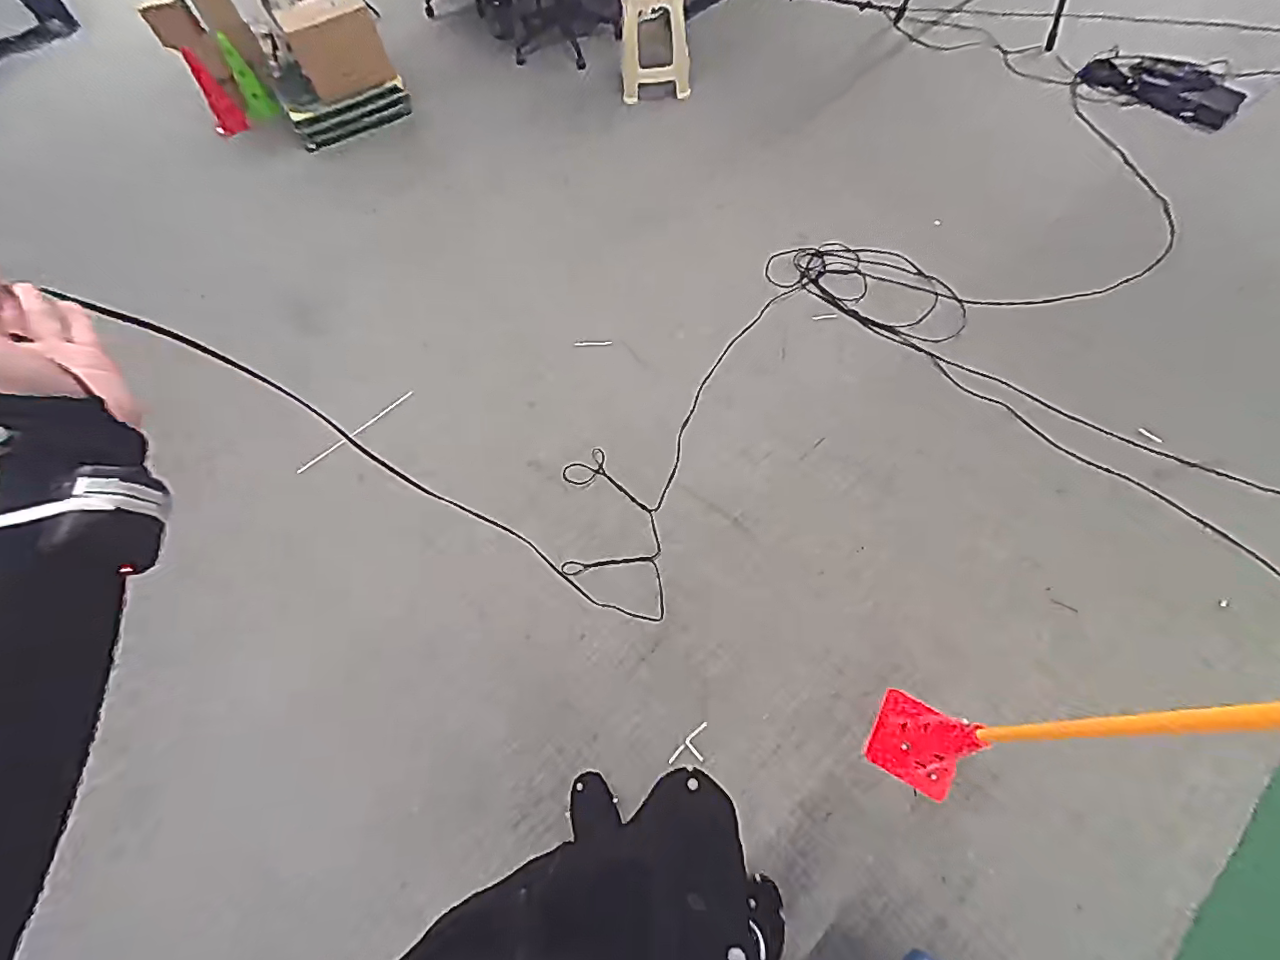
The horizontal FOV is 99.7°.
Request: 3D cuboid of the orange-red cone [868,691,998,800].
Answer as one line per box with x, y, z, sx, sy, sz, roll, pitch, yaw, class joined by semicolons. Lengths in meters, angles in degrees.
0.682;0.576;1.201;0.198;0.360;0.199;28;66;17;orange-red cone
